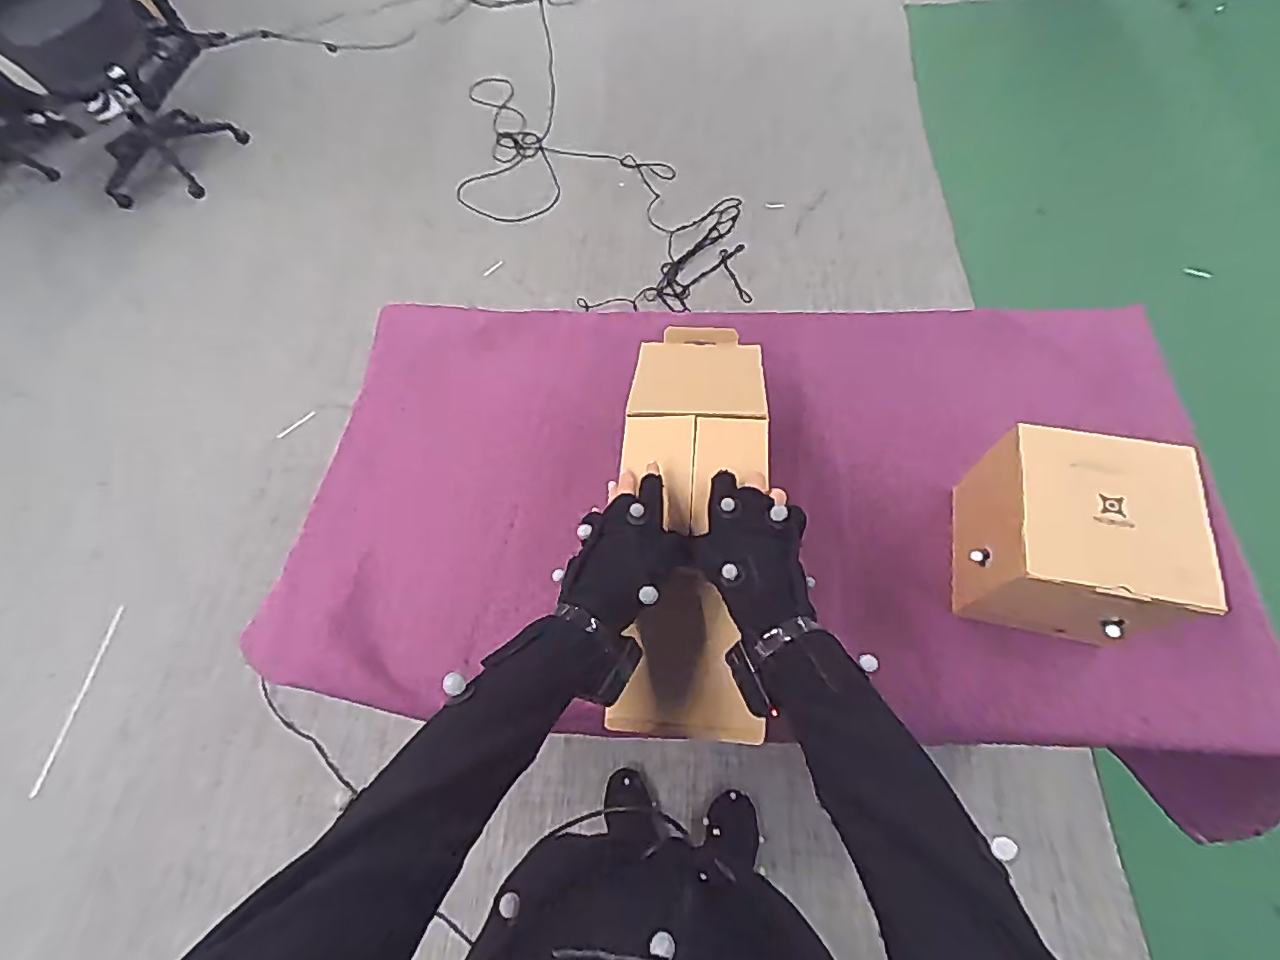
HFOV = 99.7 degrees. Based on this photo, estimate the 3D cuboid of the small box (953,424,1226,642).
[{"bbox_3d":[0.468,0.065,0.597,0.168,0.176,0.179,11,65,11],"label":"small box"}]
